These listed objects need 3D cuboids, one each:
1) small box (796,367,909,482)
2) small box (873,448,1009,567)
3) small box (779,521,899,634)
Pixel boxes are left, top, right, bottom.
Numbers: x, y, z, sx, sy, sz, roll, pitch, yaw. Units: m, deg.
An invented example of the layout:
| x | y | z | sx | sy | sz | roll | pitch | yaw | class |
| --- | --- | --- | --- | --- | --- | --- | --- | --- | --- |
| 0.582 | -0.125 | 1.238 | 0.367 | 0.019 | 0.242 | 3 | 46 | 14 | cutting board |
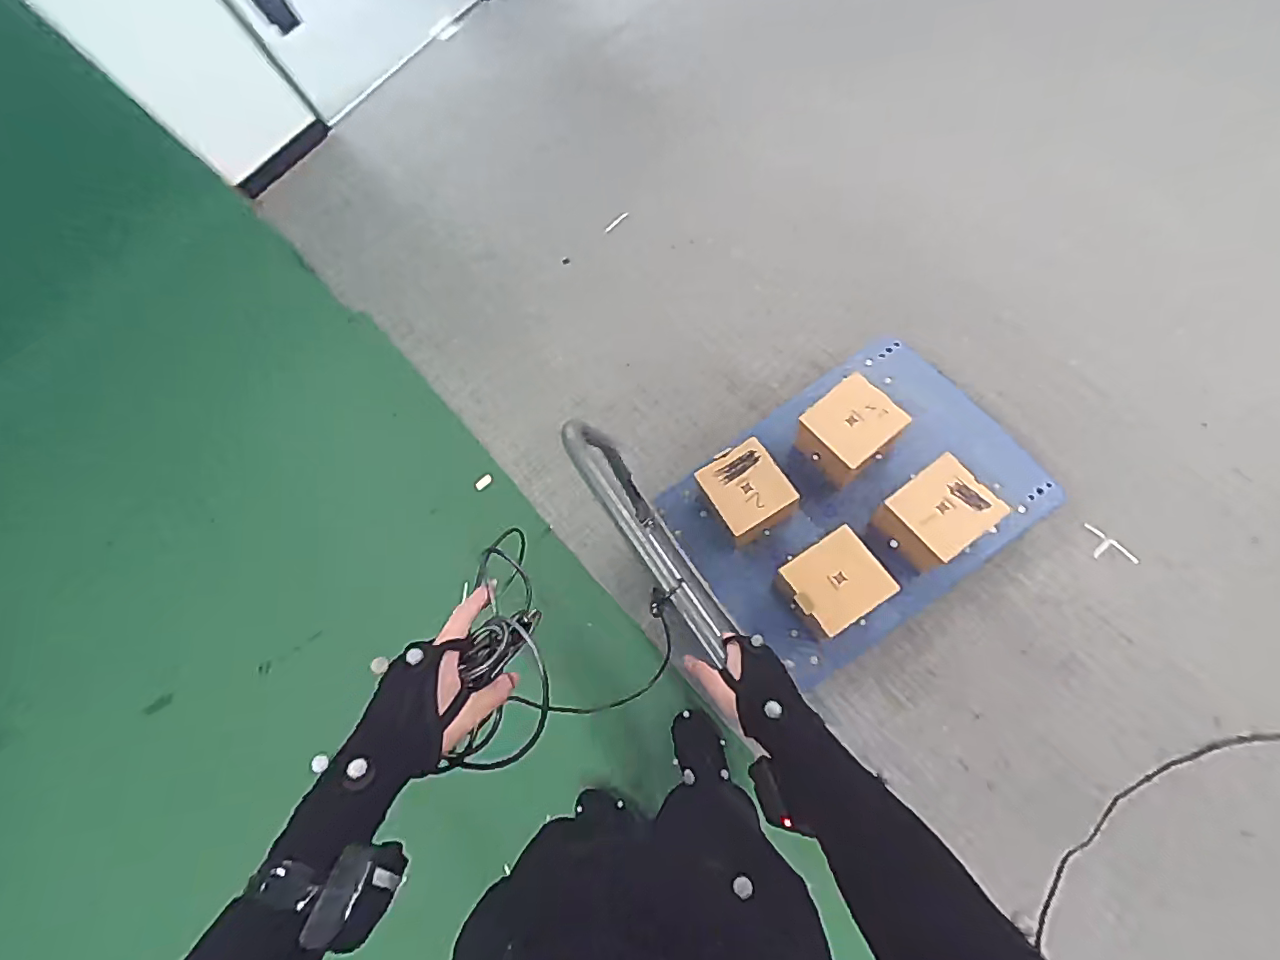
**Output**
| x | y | z | sx | sy | sz | roll | pitch | yaw | class |
| --- | --- | --- | --- | --- | --- | --- | --- | --- | --- |
| 0.482 | -0.121 | 1.259 | 0.179 | 0.176 | 0.168 | -40 | 70 | -2 | small box |
| 0.634 | 0.065 | 1.167 | 0.179 | 0.176 | 0.168 | -38 | 68 | -1 | small box |
| 0.416 | 0.215 | 1.168 | 0.179 | 0.176 | 0.168 | -35 | 69 | 0 | small box |
